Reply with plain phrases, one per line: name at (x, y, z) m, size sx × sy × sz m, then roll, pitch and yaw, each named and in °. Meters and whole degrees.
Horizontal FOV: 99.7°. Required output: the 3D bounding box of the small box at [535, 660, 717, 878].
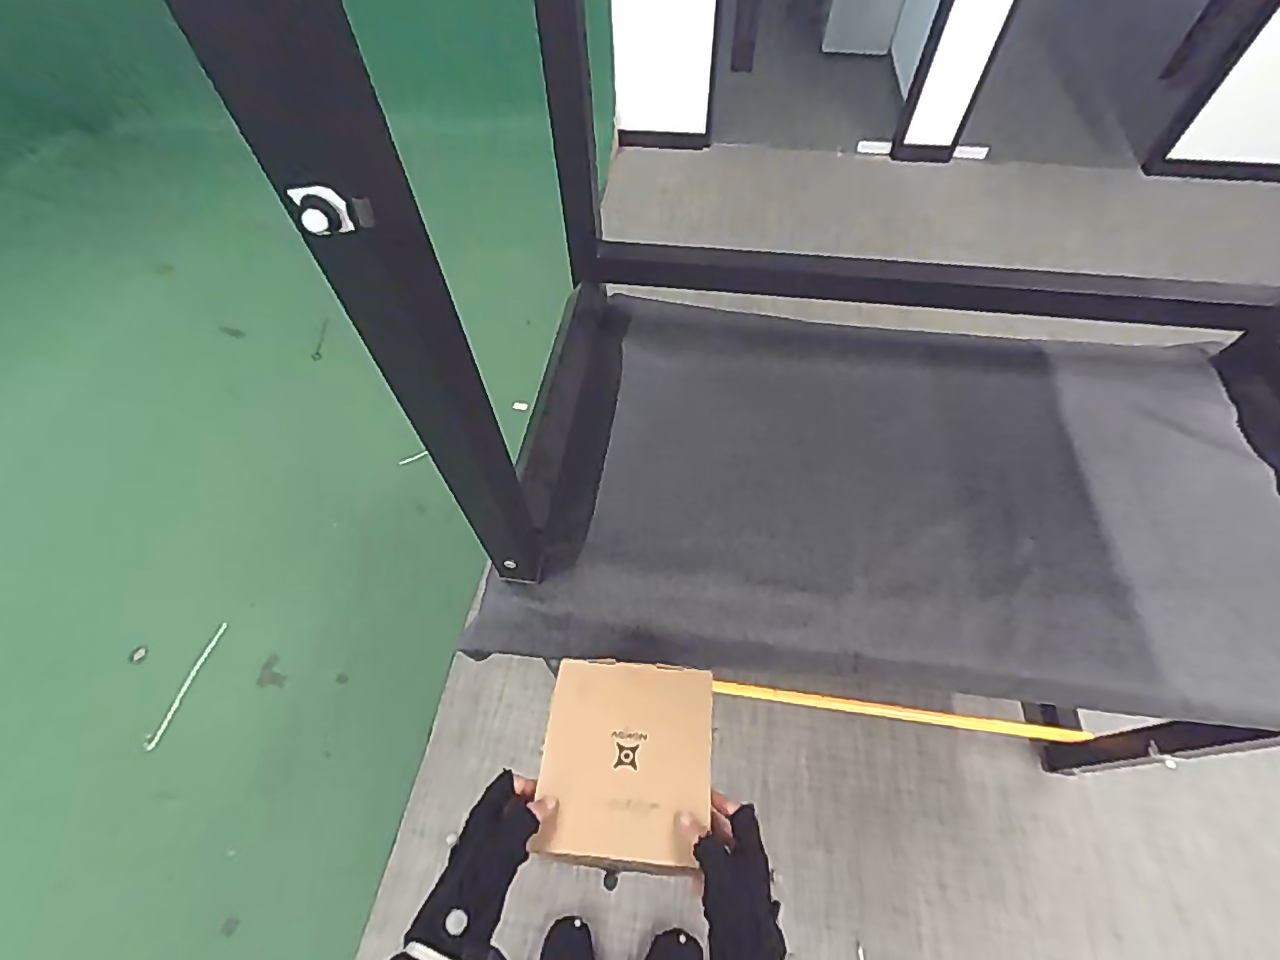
small box at (-0.005, 0.320, 0.597) m, size 0.168 × 0.176 × 0.179 m, roll 2°, pitch 52°, yaw 6°
